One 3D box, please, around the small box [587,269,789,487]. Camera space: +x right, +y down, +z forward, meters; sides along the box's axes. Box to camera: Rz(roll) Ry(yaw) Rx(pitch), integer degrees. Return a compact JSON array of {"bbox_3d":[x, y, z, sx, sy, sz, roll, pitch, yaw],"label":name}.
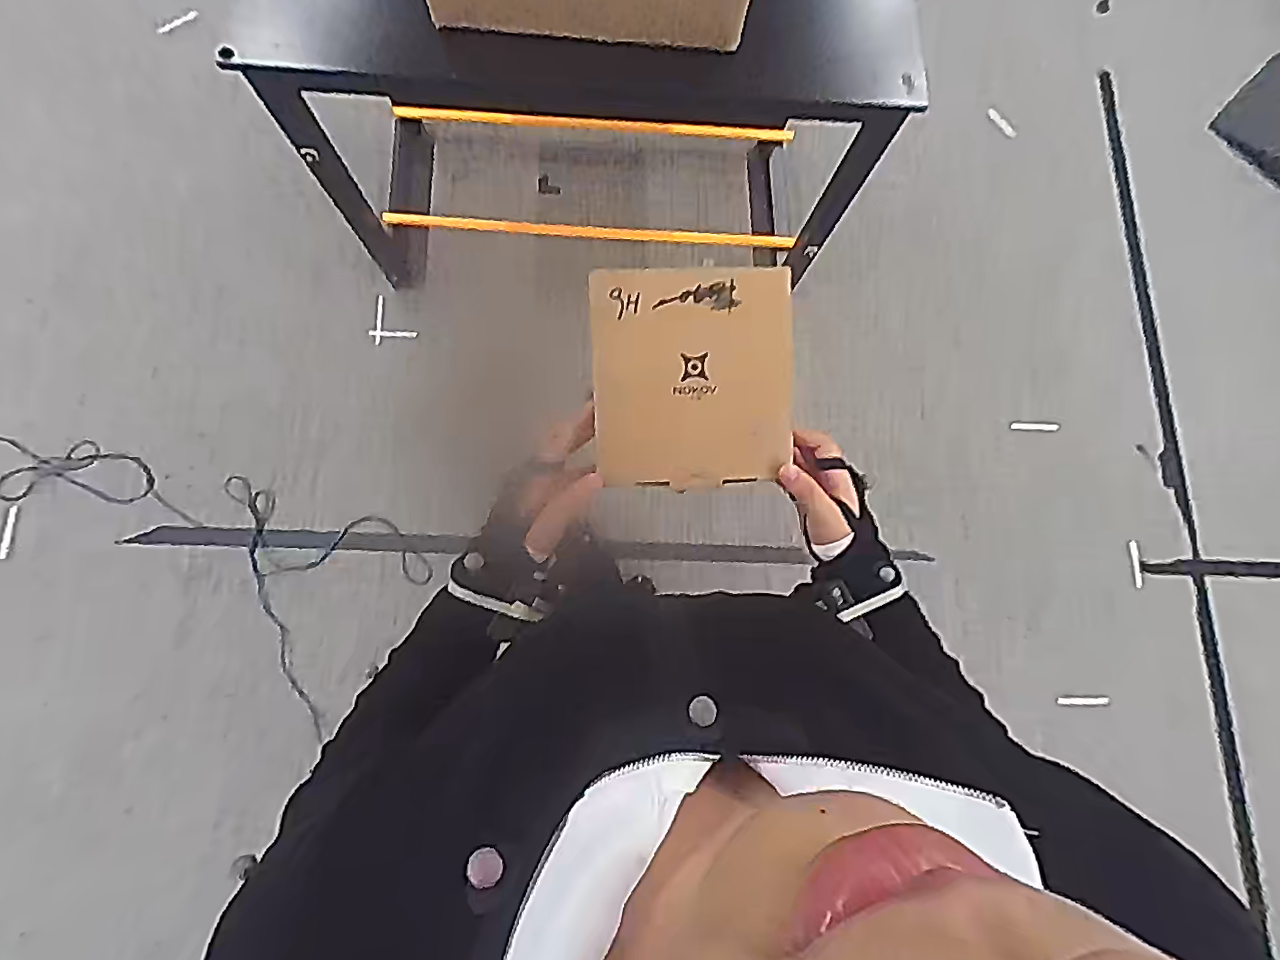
[{"bbox_3d":[0.037,-0.091,0.524,0.168,0.176,0.179,-3,95,-4],"label":"small box"}]
